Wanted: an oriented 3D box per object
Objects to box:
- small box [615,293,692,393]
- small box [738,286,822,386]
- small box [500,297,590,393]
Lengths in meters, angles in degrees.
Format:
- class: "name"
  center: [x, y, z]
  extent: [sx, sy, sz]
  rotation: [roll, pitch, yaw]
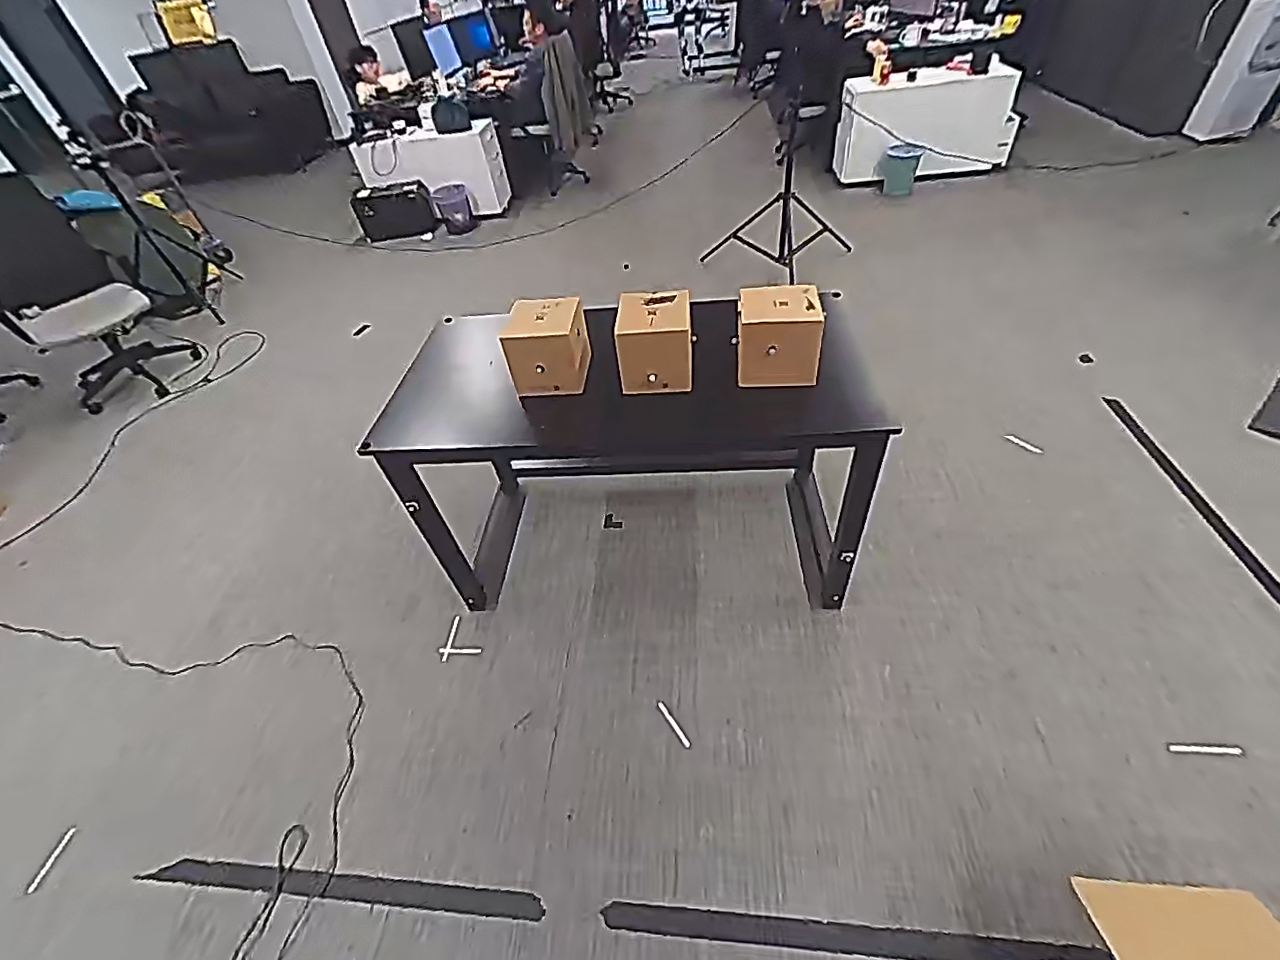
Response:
- class: "small box"
  center: [0.038, -0.326, 1.292]
  extent: [0.168, 0.176, 0.179]
  rotation: [-1, 46, 7]
- class: "small box"
  center: [0.317, -0.331, 1.254]
  extent: [0.179, 0.176, 0.168]
  rotation: [0, 46, 10]
- class: "small box"
  center: [-0.224, -0.327, 1.330]
  extent: [0.168, 0.176, 0.179]
  rotation: [-1, 46, 7]
